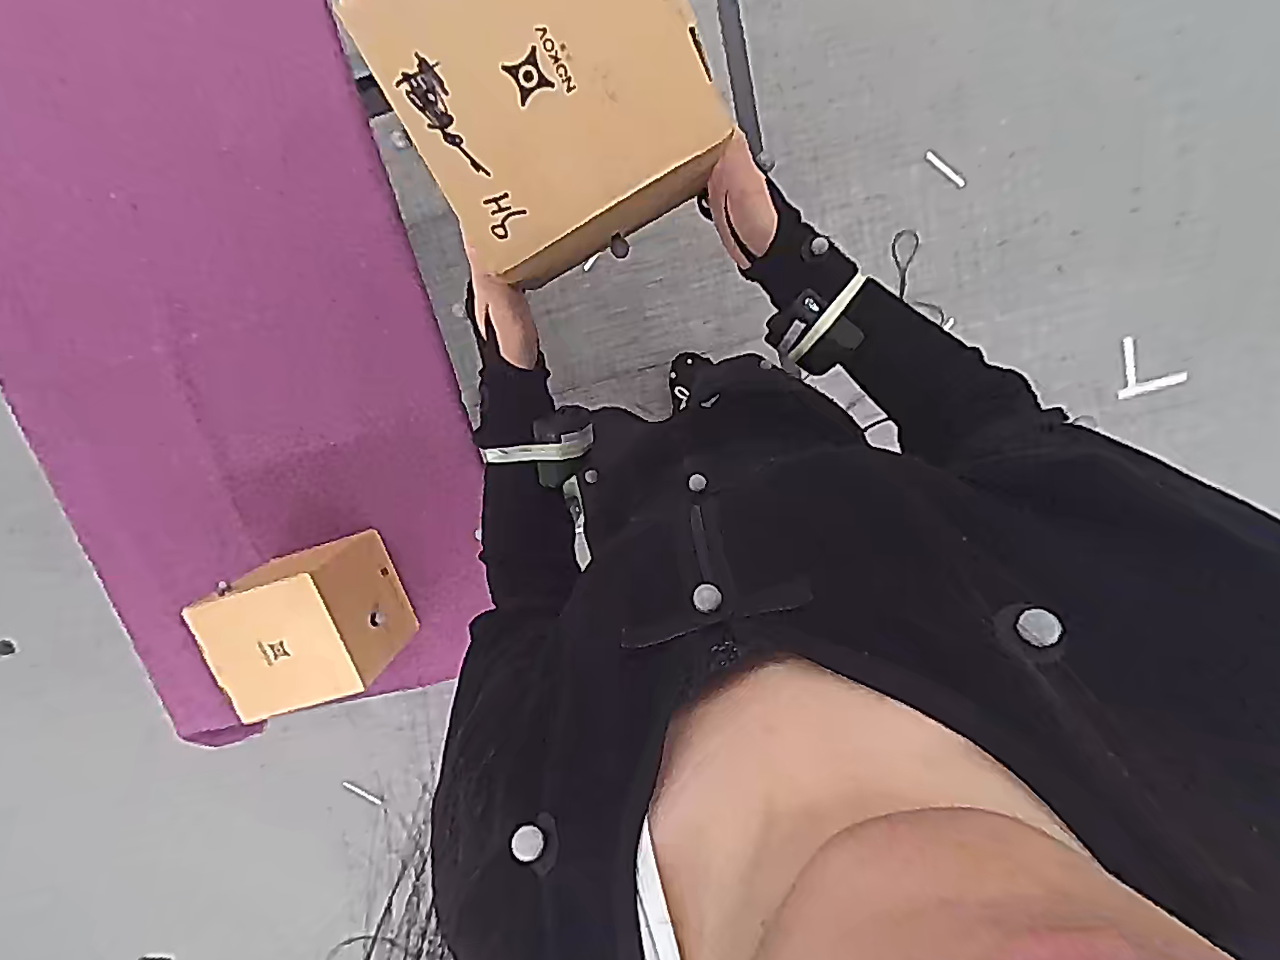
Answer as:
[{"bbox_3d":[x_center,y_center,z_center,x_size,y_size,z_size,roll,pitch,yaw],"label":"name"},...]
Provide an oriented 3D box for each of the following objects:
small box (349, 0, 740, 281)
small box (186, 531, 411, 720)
[{"bbox_3d":[-0.055,-0.263,0.390,0.179,0.176,0.168,-28,105,5],"label":"small box"},{"bbox_3d":[-0.441,0.186,0.739,0.179,0.176,0.168,-17,103,6],"label":"small box"}]
